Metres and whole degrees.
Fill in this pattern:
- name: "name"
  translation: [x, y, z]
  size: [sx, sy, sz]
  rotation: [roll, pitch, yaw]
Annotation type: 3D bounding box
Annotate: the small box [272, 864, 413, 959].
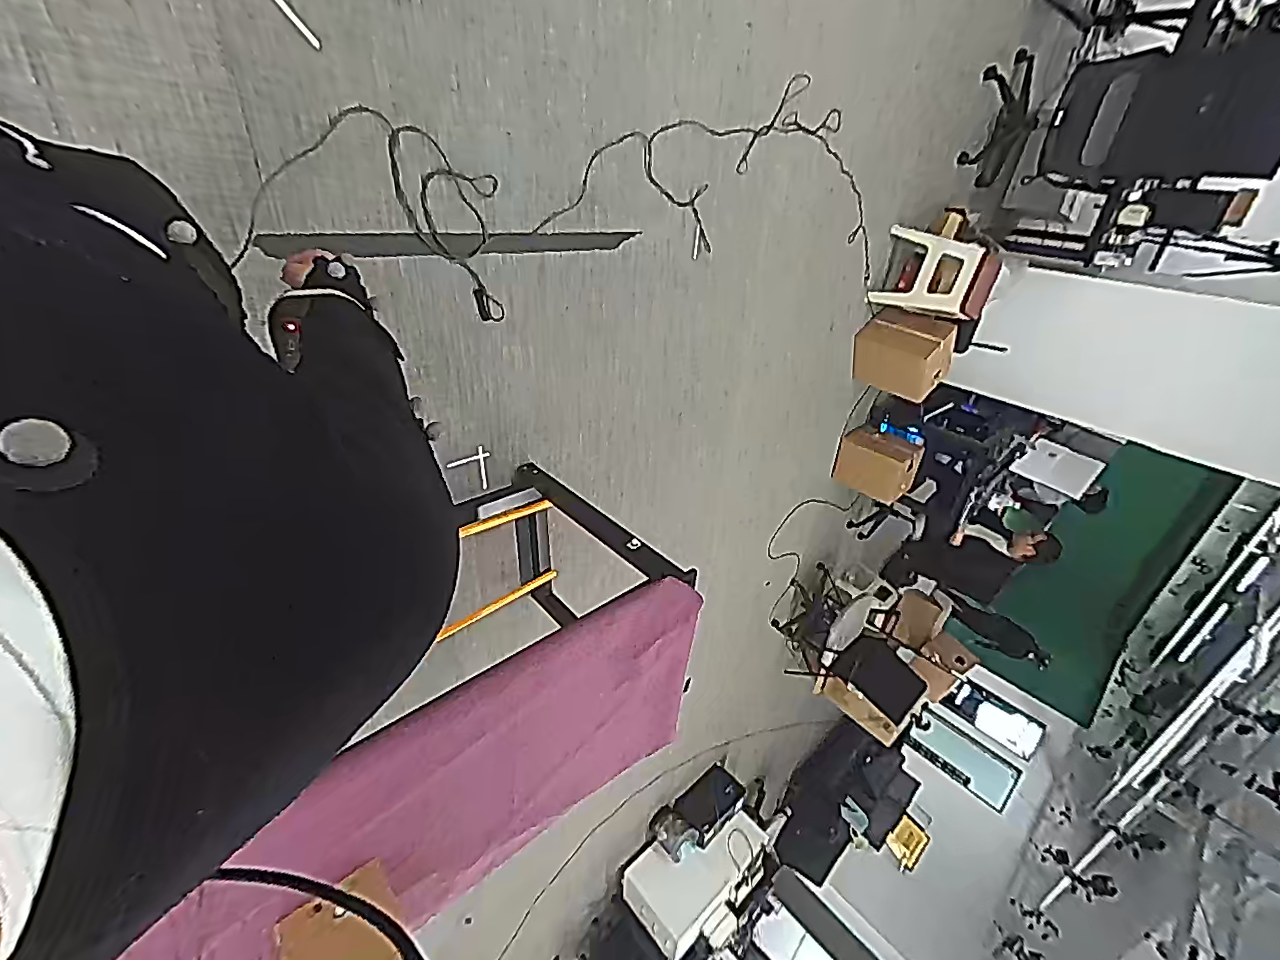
- name: "small box"
  translation: [-0.500, 0.814, 0.922]
  size: [0.168, 0.176, 0.179]
  rotation: [-19, 127, -40]
